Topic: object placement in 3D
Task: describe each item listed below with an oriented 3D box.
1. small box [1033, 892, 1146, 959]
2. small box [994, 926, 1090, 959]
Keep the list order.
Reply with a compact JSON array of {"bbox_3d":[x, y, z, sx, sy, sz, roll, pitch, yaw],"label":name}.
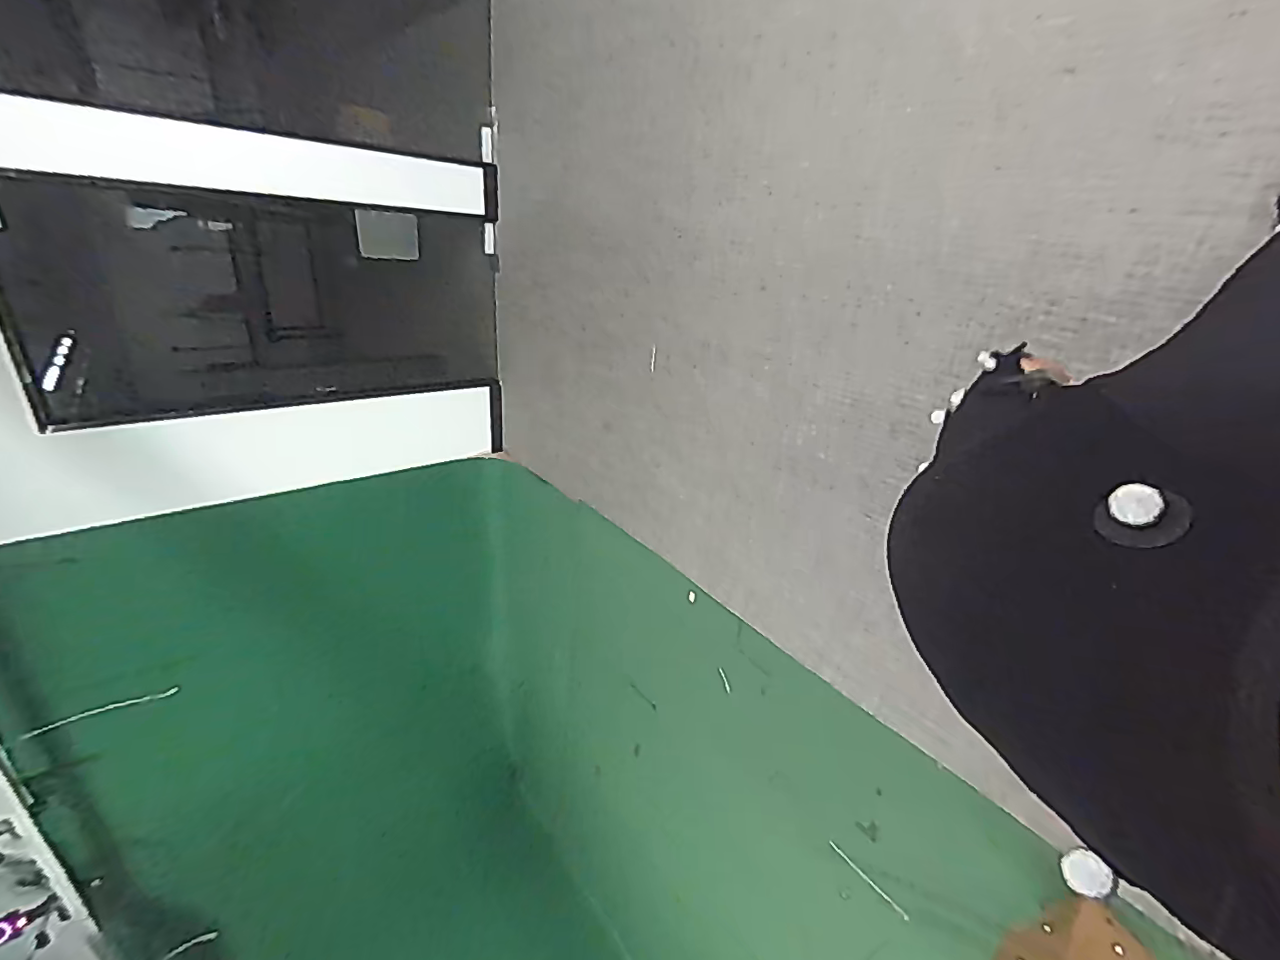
[{"bbox_3d":[1.107,1.177,1.345,0.168,0.176,0.179,47,134,32],"label":"small box"},{"bbox_3d":[0.963,1.193,1.265,0.179,0.176,0.168,-48,63,48],"label":"small box"}]
